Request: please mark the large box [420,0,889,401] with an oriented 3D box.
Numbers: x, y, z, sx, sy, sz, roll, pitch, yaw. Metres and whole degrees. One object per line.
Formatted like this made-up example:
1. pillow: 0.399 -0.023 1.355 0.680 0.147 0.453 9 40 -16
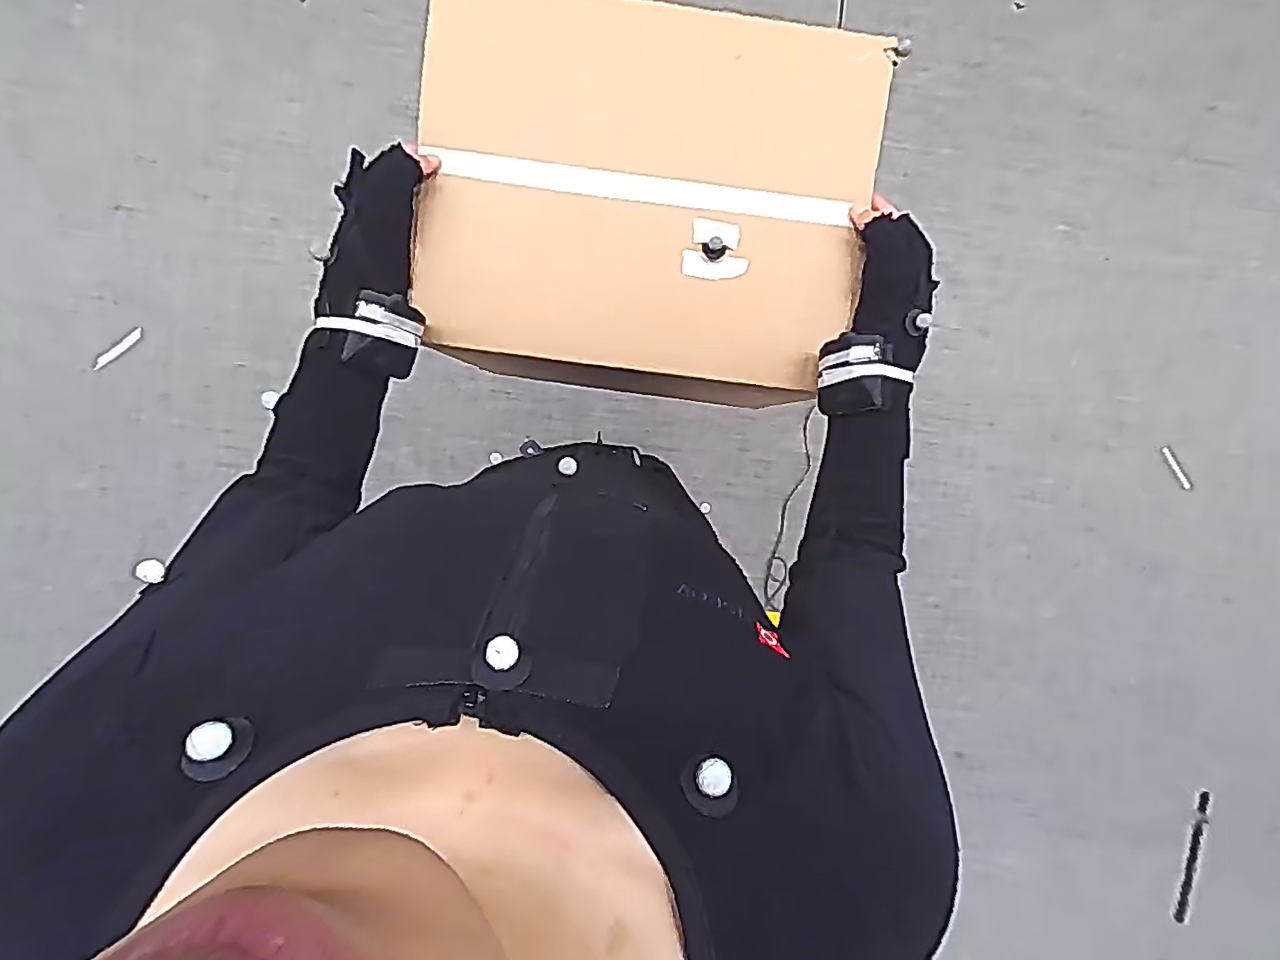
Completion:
1. large box: 0.004 -0.275 0.634 0.408 0.320 0.320 7 96 -3
